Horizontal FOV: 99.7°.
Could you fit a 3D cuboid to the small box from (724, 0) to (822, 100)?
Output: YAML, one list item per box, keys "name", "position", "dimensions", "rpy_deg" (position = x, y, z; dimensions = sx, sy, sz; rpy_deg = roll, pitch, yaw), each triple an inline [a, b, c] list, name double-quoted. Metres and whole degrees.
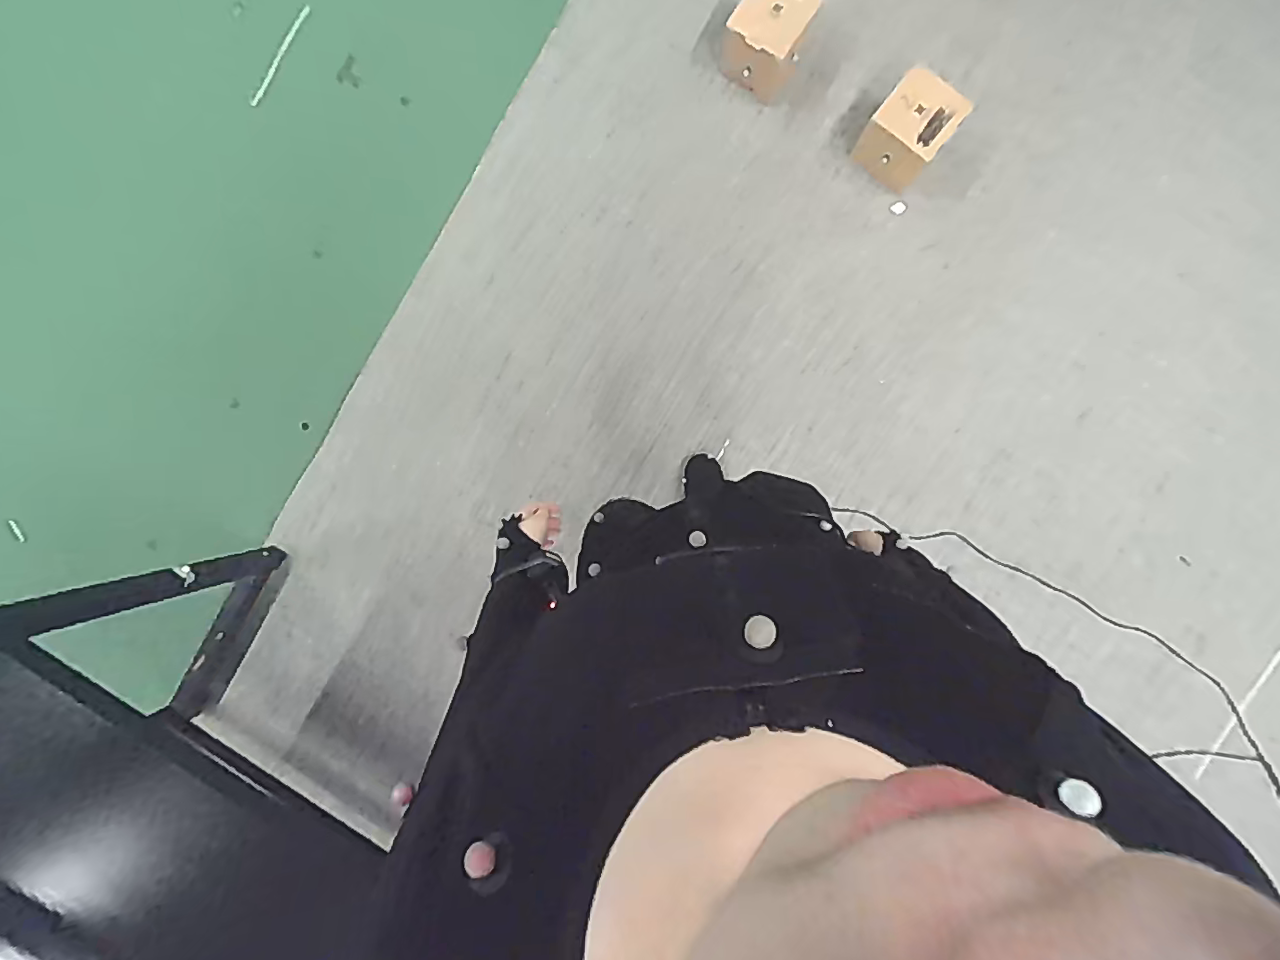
- name: "small box"
  position: [0.326, -1.119, 1.362]
  dimensions: [0.168, 0.176, 0.179]
  rpy_deg: [36, 95, 2]
